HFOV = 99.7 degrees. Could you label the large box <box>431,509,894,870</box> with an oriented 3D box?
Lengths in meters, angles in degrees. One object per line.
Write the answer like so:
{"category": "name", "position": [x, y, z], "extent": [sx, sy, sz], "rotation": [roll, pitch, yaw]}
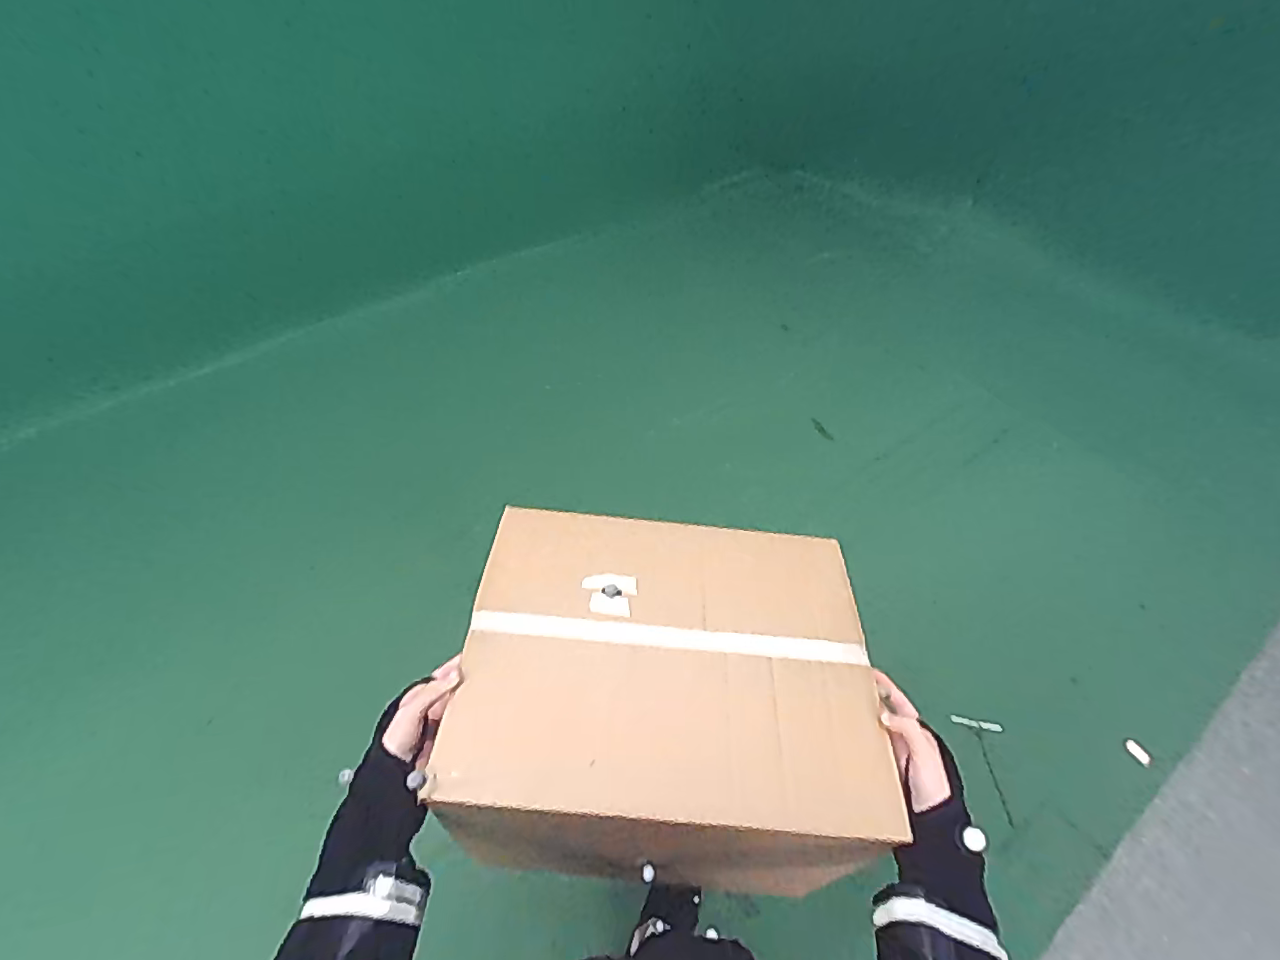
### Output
{"category": "large box", "position": [0.020, 0.264, 0.665], "extent": [0.408, 0.320, 0.320], "rotation": [6, 46, 0]}
